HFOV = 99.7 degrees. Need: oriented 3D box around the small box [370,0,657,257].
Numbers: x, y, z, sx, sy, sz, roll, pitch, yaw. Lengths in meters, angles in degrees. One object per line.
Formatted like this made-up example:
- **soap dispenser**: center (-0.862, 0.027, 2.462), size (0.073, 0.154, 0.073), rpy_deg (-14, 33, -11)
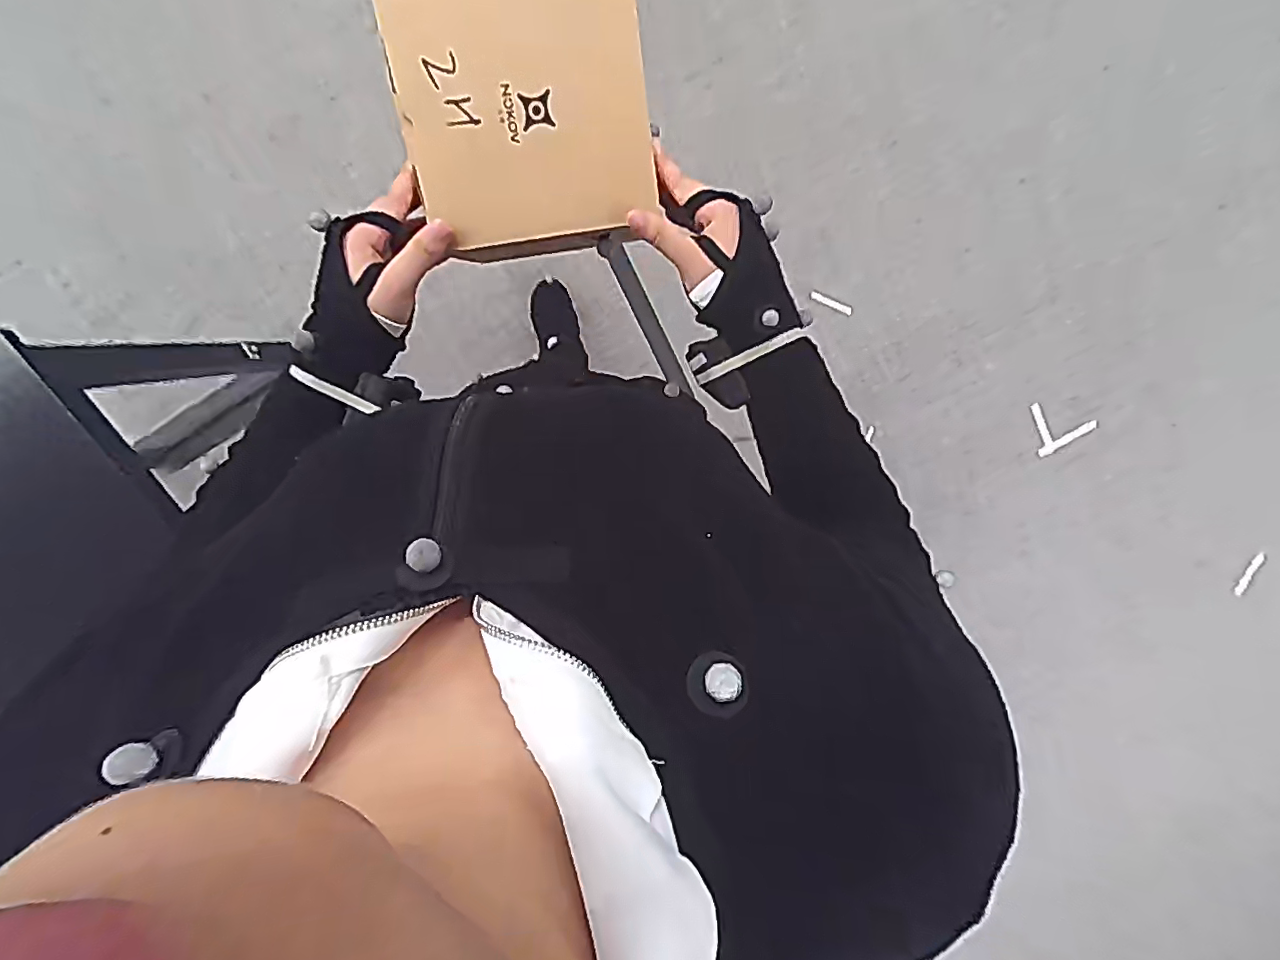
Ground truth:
- **small box**: center (-0.087, -0.289, 0.454), size (0.179, 0.176, 0.168), rpy_deg (-8, 109, 0)
